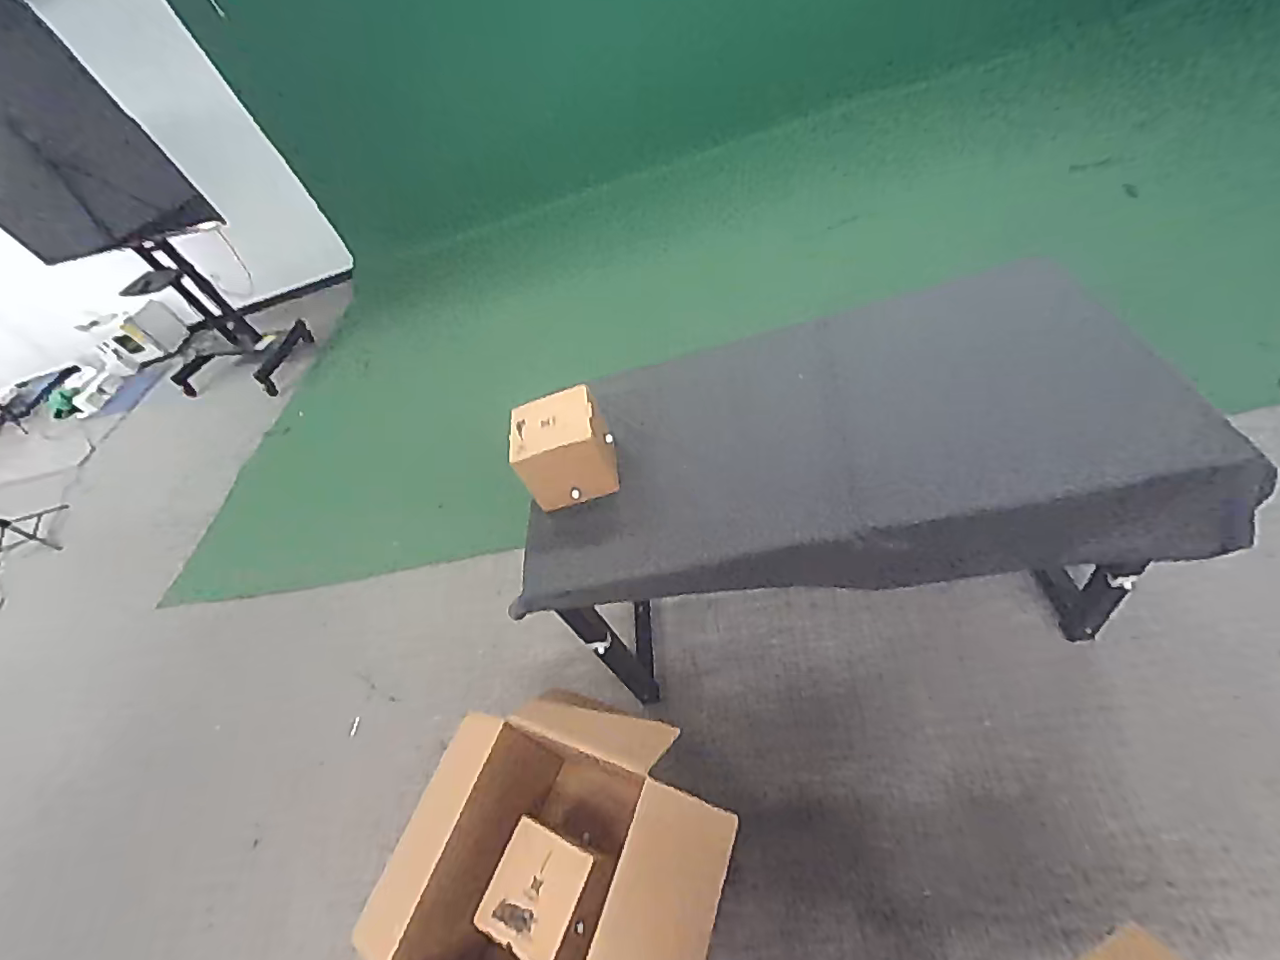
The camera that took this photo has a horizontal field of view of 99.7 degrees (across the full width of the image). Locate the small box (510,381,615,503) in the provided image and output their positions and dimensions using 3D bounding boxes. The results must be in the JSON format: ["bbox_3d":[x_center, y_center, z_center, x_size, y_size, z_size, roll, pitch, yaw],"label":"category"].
[{"bbox_3d":[-0.157,-0.077,1.149,0.179,0.176,0.168,-16,48,8],"label":"small box"}]

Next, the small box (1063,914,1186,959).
[{"bbox_3d":[0.568,0.631,0.562,0.168,0.179,0.176,-32,89,-3],"label":"small box"}]
